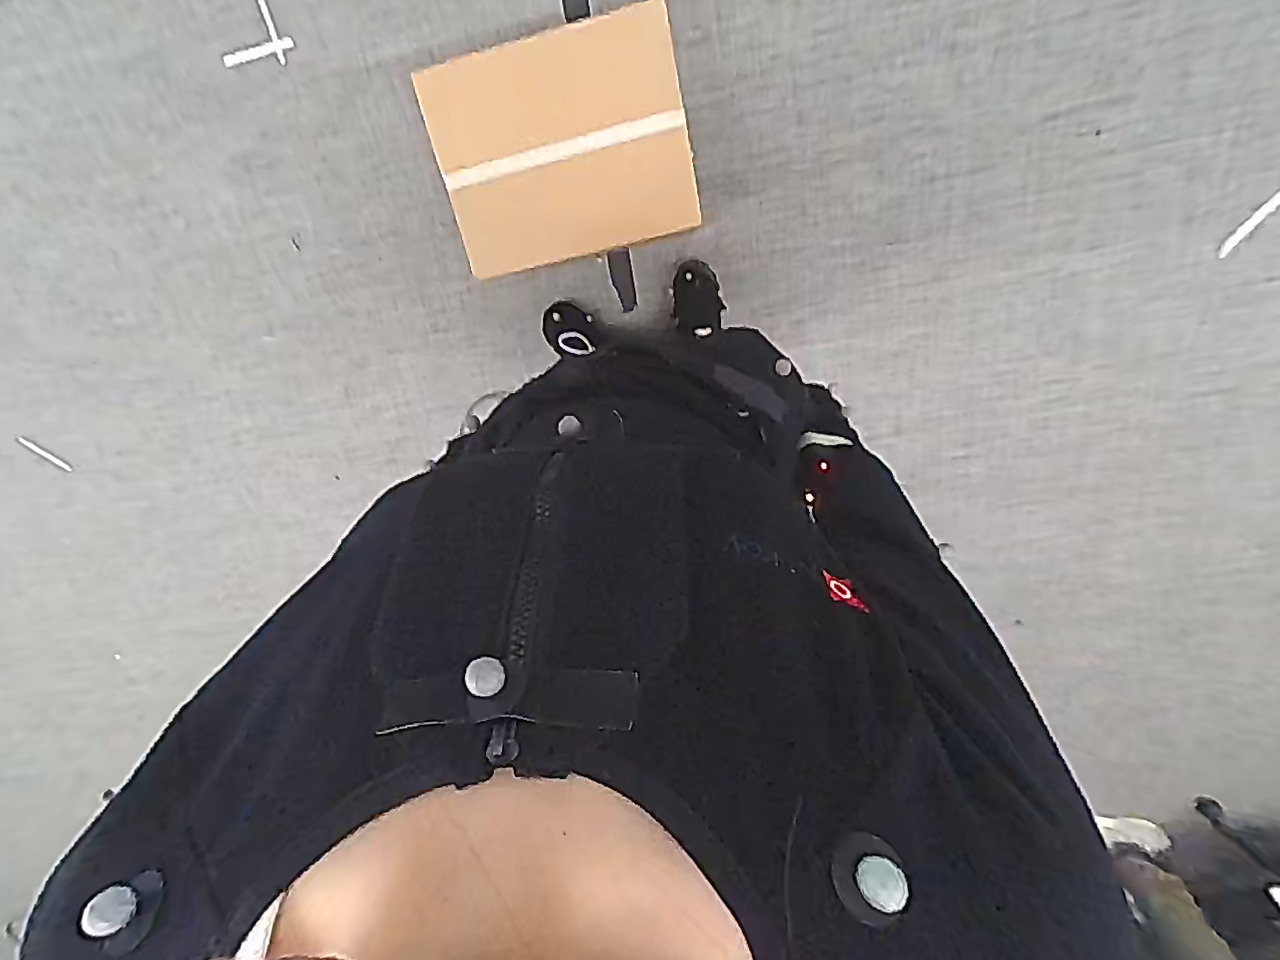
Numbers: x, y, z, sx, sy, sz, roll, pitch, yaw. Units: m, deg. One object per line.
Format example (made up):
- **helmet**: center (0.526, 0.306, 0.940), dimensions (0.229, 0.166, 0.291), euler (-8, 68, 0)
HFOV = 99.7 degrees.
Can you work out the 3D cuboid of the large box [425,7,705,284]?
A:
- **large box**: center (-0.110, -0.579, 1.017), dimensions (0.408, 0.320, 0.320), euler (-11, 112, 8)
